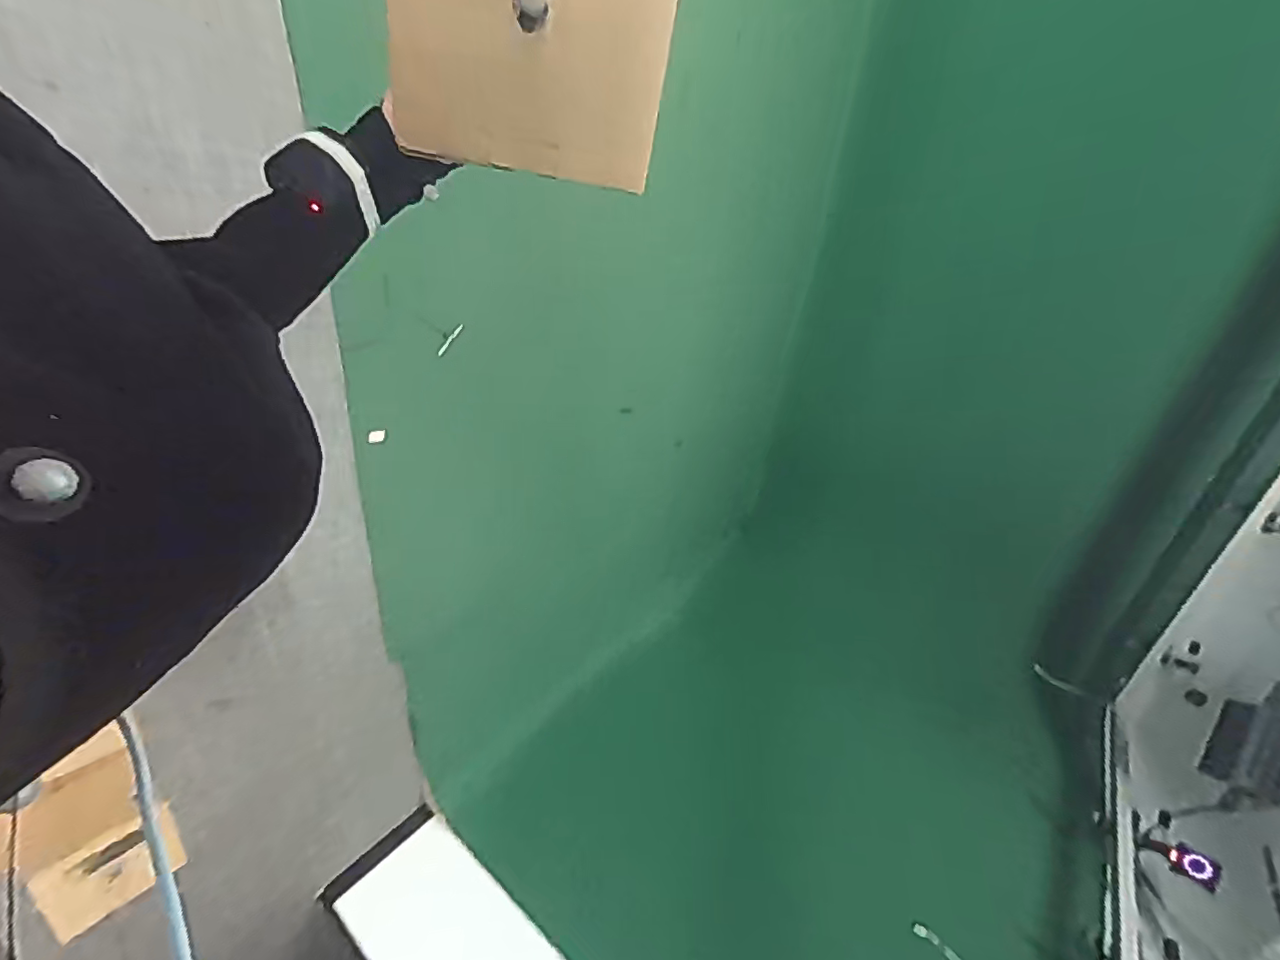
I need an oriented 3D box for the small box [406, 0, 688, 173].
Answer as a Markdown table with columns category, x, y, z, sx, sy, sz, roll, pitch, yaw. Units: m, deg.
| category | x | y | z | sx | sy | sz | roll | pitch | yaw |
| --- | --- | --- | --- | --- | --- | --- | --- | --- | --- |
| small box | -0.058 | -0.332 | 0.368 | 0.179 | 0.168 | 0.176 | -95 | -166 | -49 |
